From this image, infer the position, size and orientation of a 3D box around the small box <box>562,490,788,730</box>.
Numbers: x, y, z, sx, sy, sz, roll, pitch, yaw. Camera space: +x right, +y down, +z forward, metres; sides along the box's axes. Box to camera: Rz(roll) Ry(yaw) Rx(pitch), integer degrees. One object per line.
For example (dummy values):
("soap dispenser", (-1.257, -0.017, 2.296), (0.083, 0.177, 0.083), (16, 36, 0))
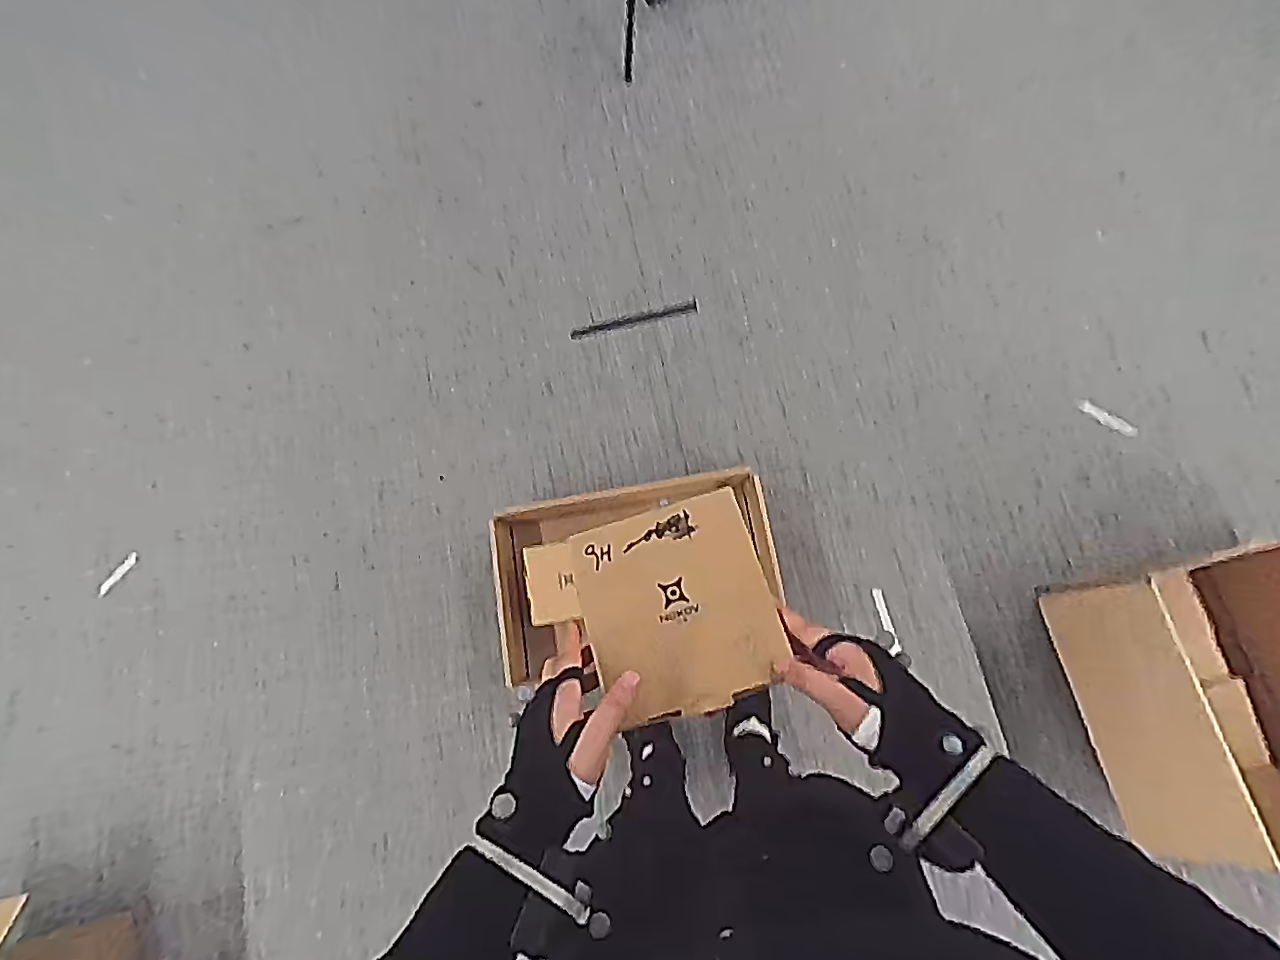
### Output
("small box", (0.035, 0.134, 0.560), (0.168, 0.176, 0.179), (-18, 71, -1))

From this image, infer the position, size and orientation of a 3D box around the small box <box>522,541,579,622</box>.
("small box", (-0.158, 0.227, 1.240), (0.179, 0.176, 0.168), (-10, 79, -1))
